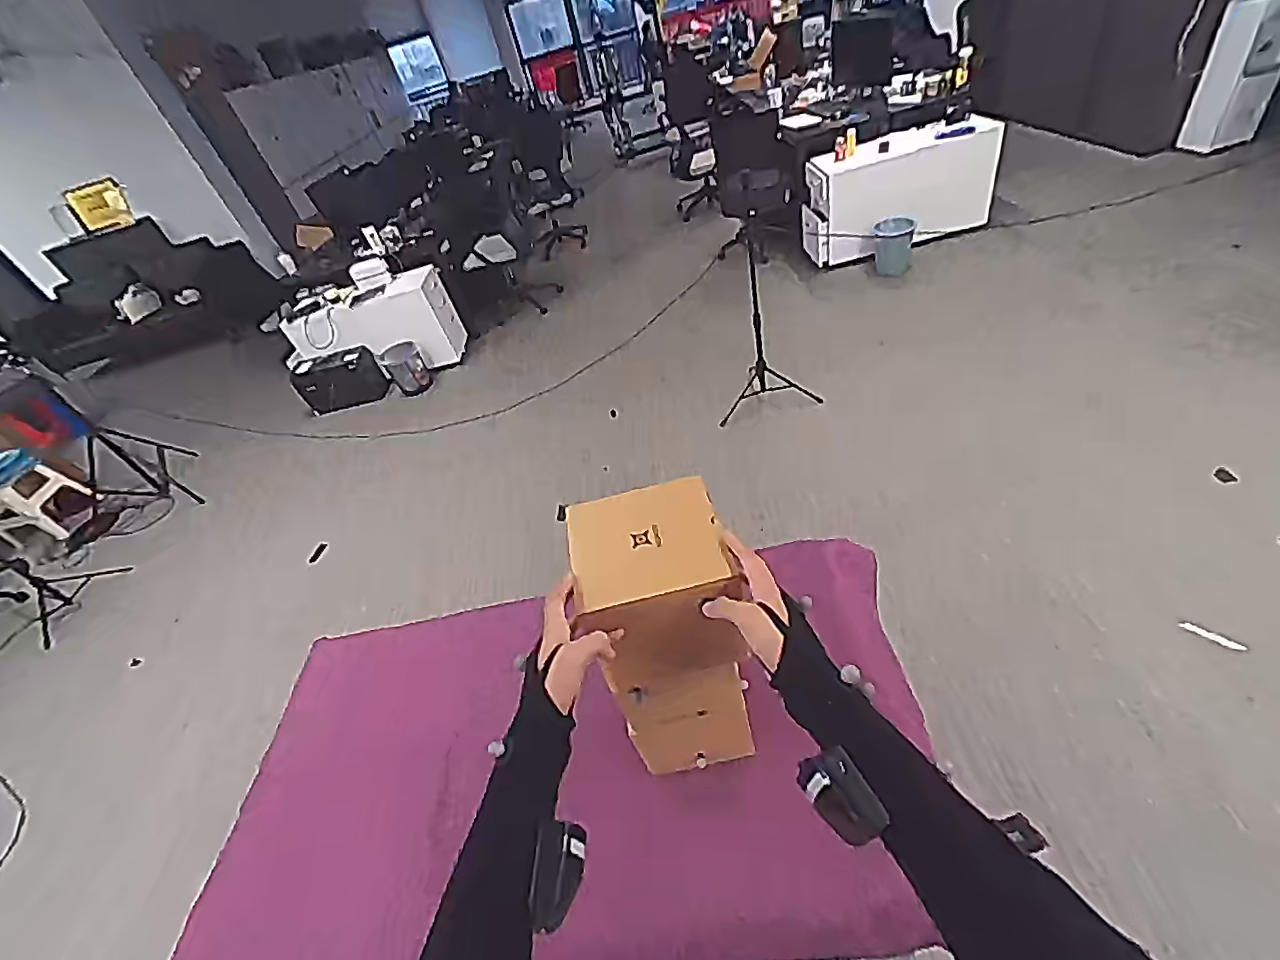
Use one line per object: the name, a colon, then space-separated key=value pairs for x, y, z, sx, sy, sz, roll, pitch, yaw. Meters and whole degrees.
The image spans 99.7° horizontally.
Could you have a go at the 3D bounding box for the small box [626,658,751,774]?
small box: x=0.078 y=0.353 z=0.883 sx=0.179 sy=0.176 sz=0.168 roll=-14 pitch=40 yaw=4

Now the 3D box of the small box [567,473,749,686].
small box: x=0.021 y=0.122 z=0.652 sx=0.179 sy=0.176 sz=0.168 roll=-14 pitch=41 yaw=0
